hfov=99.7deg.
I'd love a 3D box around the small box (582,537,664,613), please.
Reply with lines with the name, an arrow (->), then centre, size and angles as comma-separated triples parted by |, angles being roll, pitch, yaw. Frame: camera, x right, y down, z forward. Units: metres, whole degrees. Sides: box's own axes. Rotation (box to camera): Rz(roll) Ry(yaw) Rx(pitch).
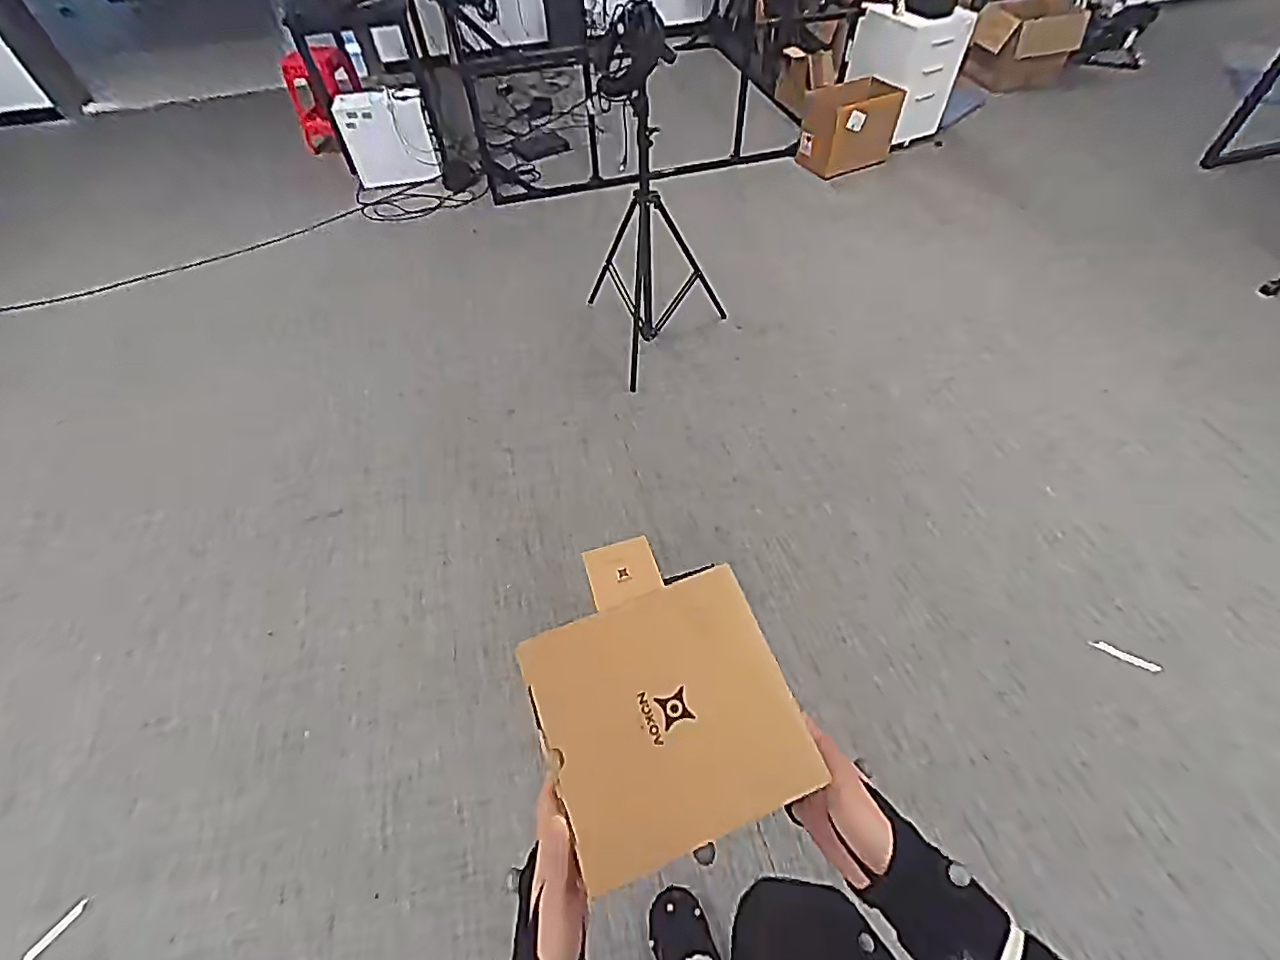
small box -> -0.036, 0.273, 1.330 | 0.168, 0.176, 0.179 | -15, 53, -10

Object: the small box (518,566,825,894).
small box -> 0.015, 0.194, 0.452 | 0.179, 0.176, 0.168 | -19, 67, -11
